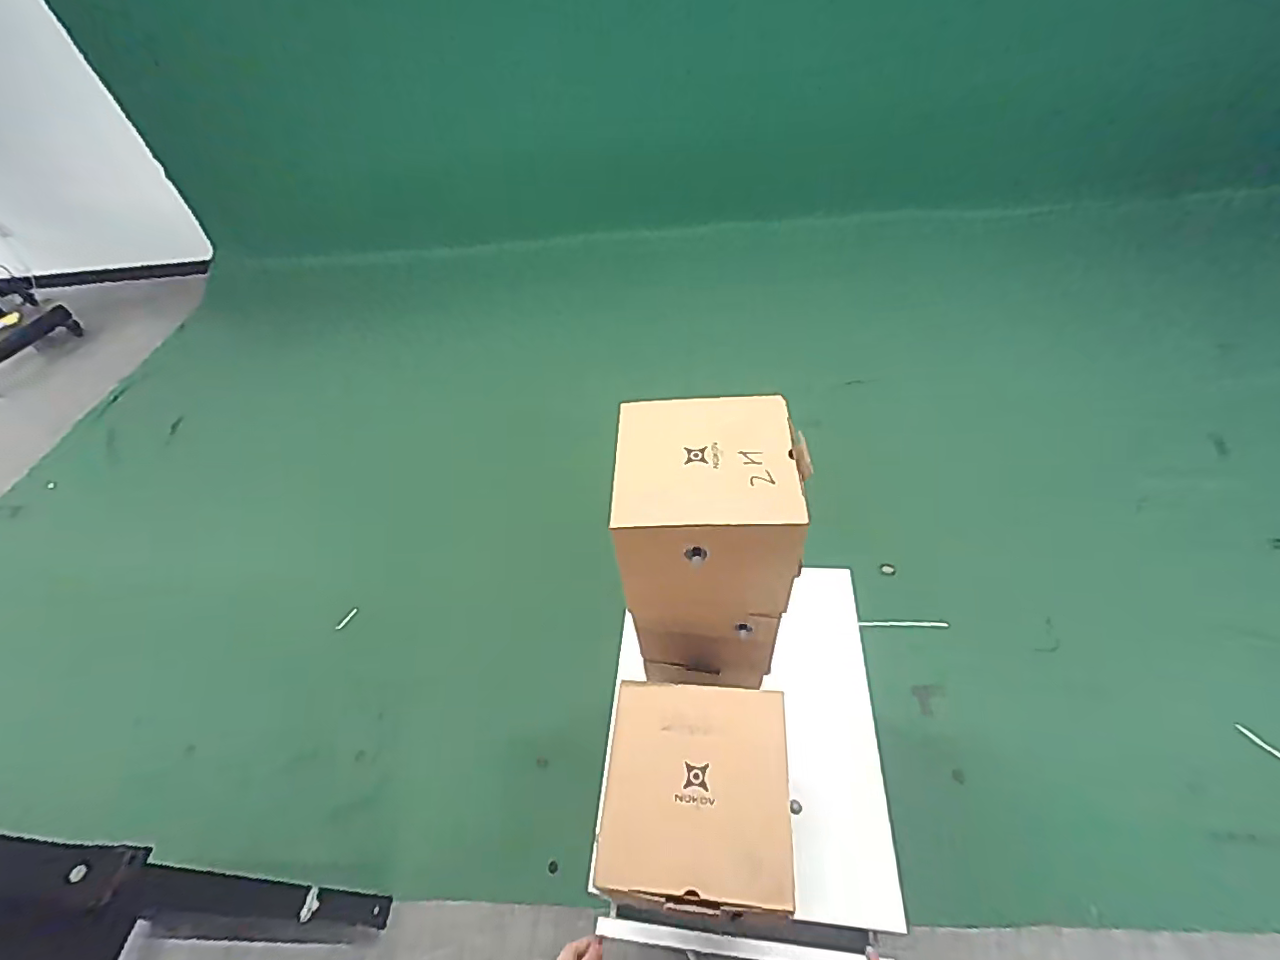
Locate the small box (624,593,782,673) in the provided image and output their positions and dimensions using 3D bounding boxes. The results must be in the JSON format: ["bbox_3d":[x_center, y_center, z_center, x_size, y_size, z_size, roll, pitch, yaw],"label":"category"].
[{"bbox_3d":[0.087,0.132,0.698,0.179,0.176,0.168,4,50,10],"label":"small box"}]

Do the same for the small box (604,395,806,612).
[{"bbox_3d":[0.065,0.029,0.571,0.179,0.176,0.168,-1,50,5],"label":"small box"}]

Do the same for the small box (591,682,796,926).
[{"bbox_3d":[0.056,0.322,0.536,0.168,0.176,0.179,1,49,7],"label":"small box"}]
